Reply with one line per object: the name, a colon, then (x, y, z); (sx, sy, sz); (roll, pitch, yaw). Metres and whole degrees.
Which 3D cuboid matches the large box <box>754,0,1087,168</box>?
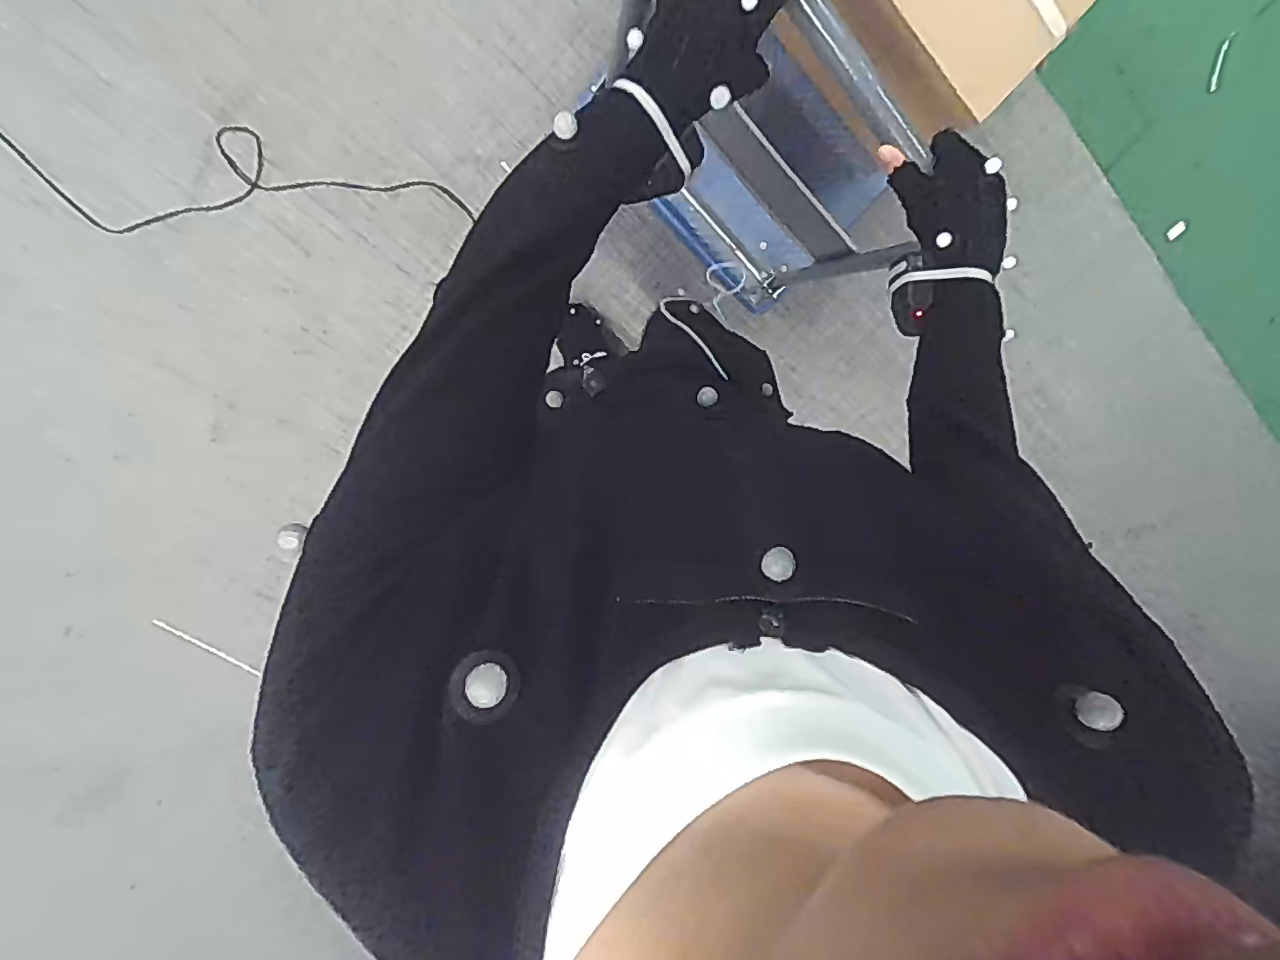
large box: (0.471, -0.839, 0.927); (0.408, 0.320, 0.320); (41, 99, -15)
